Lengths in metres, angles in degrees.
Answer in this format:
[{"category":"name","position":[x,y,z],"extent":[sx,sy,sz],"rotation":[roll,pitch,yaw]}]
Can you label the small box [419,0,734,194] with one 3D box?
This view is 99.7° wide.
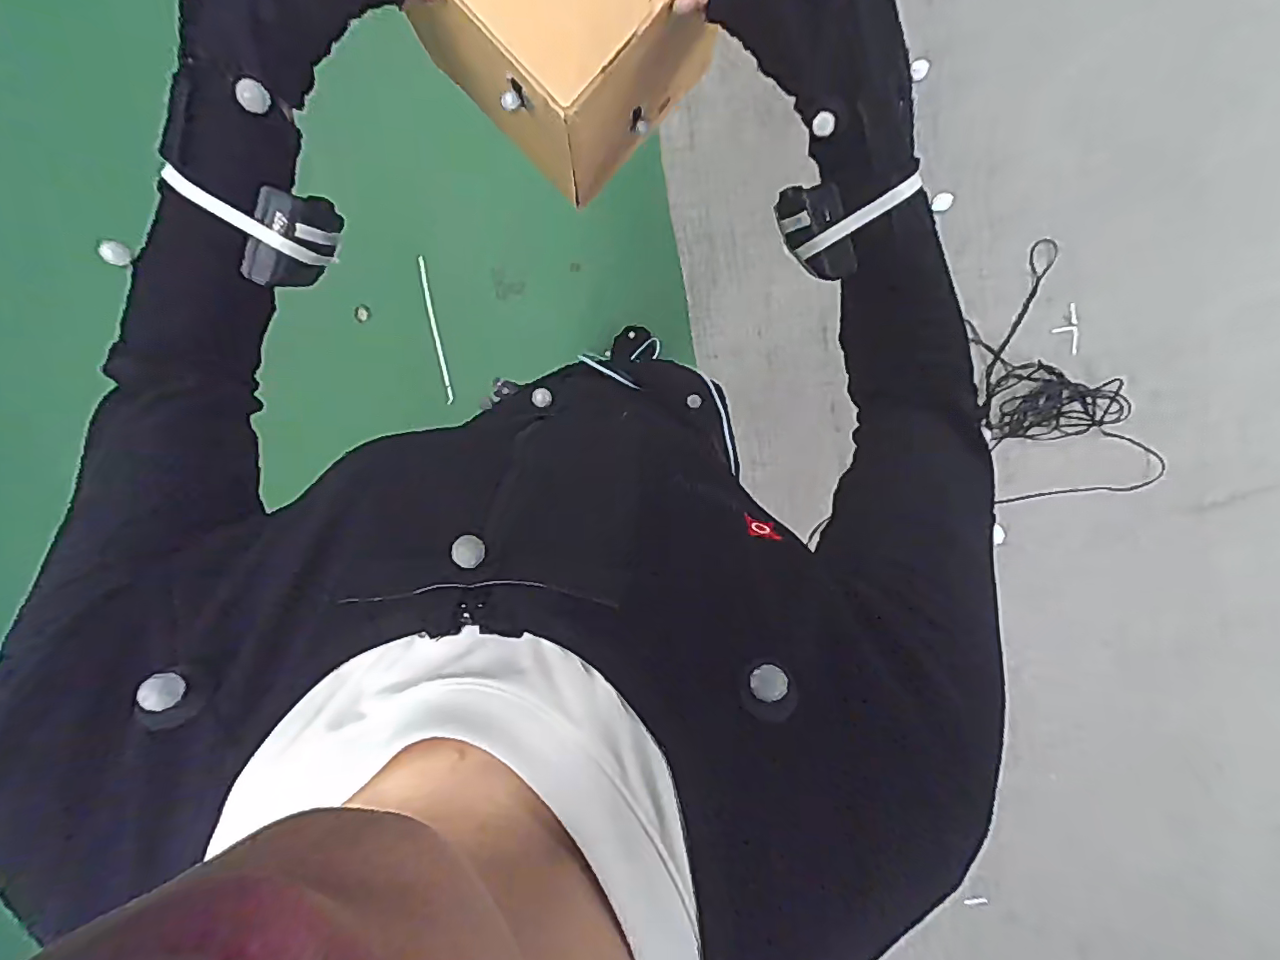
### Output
[{"category":"small box","position":[-0.048,-0.346,0.381],"extent":[0.179,0.176,0.168],"rotation":[43,95,-9]}]
